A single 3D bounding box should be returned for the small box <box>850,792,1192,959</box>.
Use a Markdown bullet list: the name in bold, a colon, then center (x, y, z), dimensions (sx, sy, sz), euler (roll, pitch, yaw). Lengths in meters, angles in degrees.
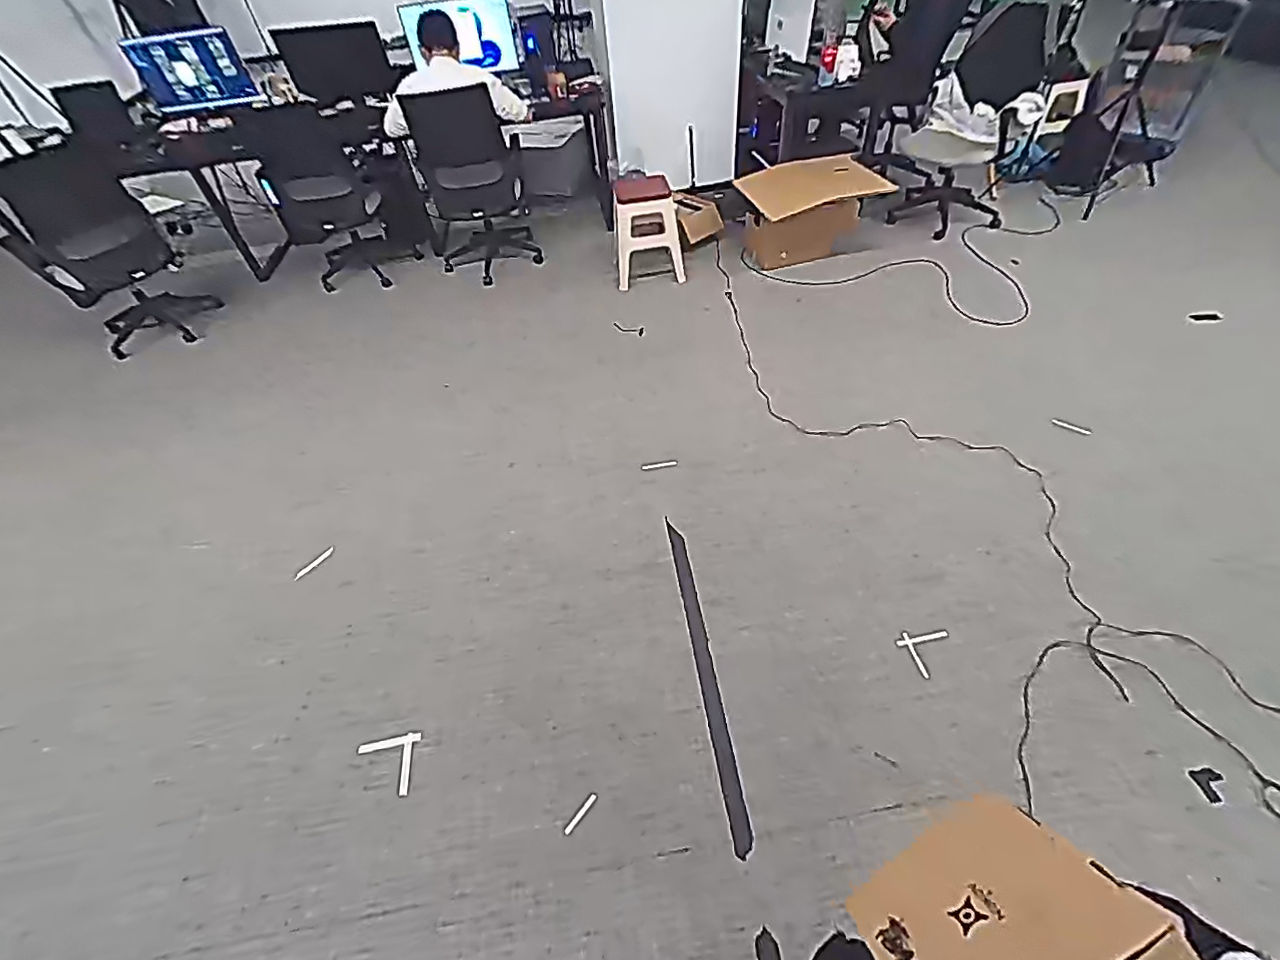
- **small box**: center (0.312, 0.406, 0.427), dimensions (0.179, 0.168, 0.176), euler (-33, 89, -4)
